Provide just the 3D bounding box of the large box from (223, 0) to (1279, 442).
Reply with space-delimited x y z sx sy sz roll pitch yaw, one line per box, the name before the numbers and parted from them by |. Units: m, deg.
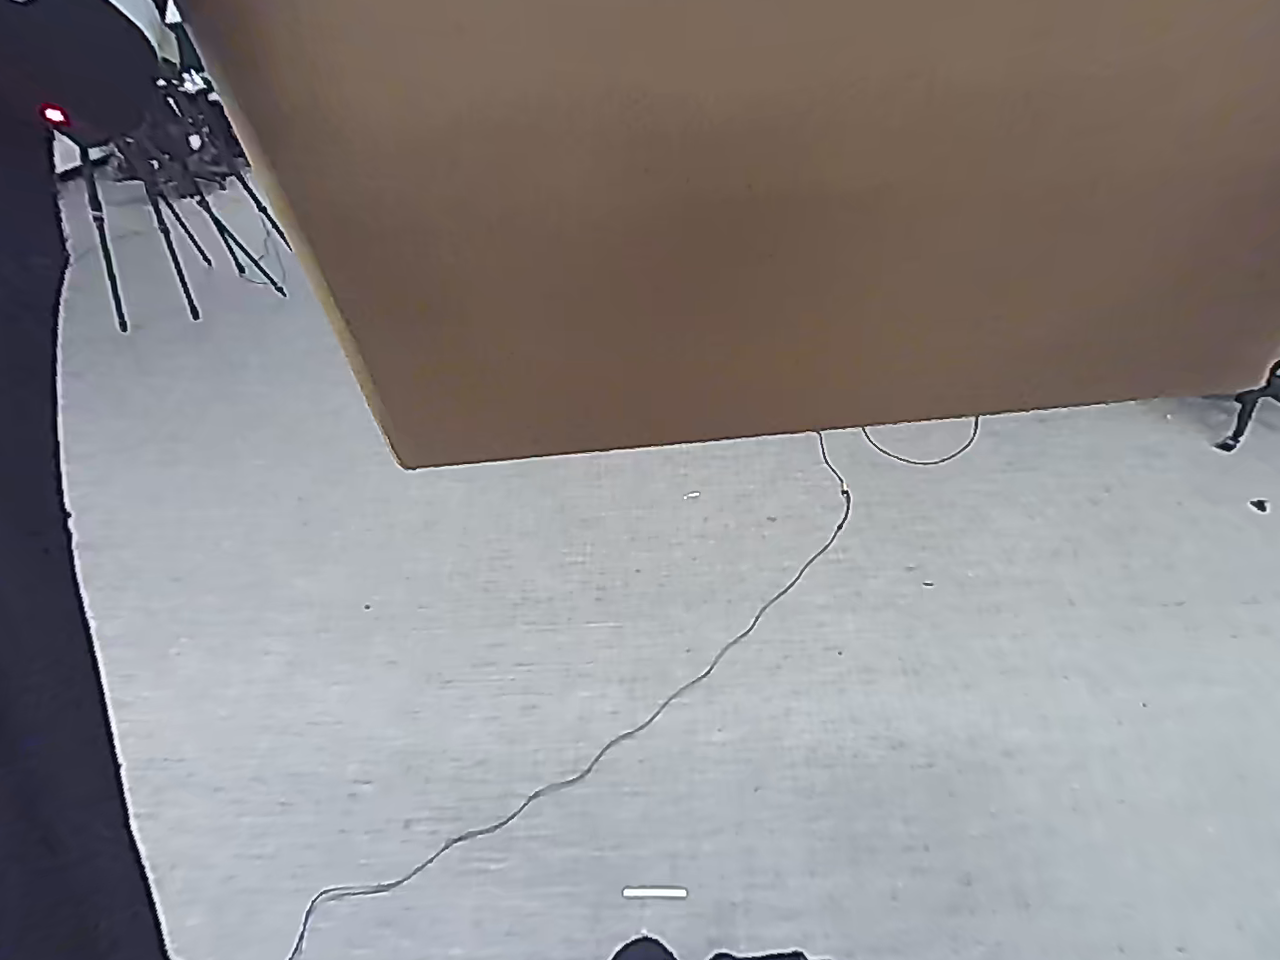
large box | 0.064 -0.242 0.276 0.408 0.320 0.320 -5 41 -1
